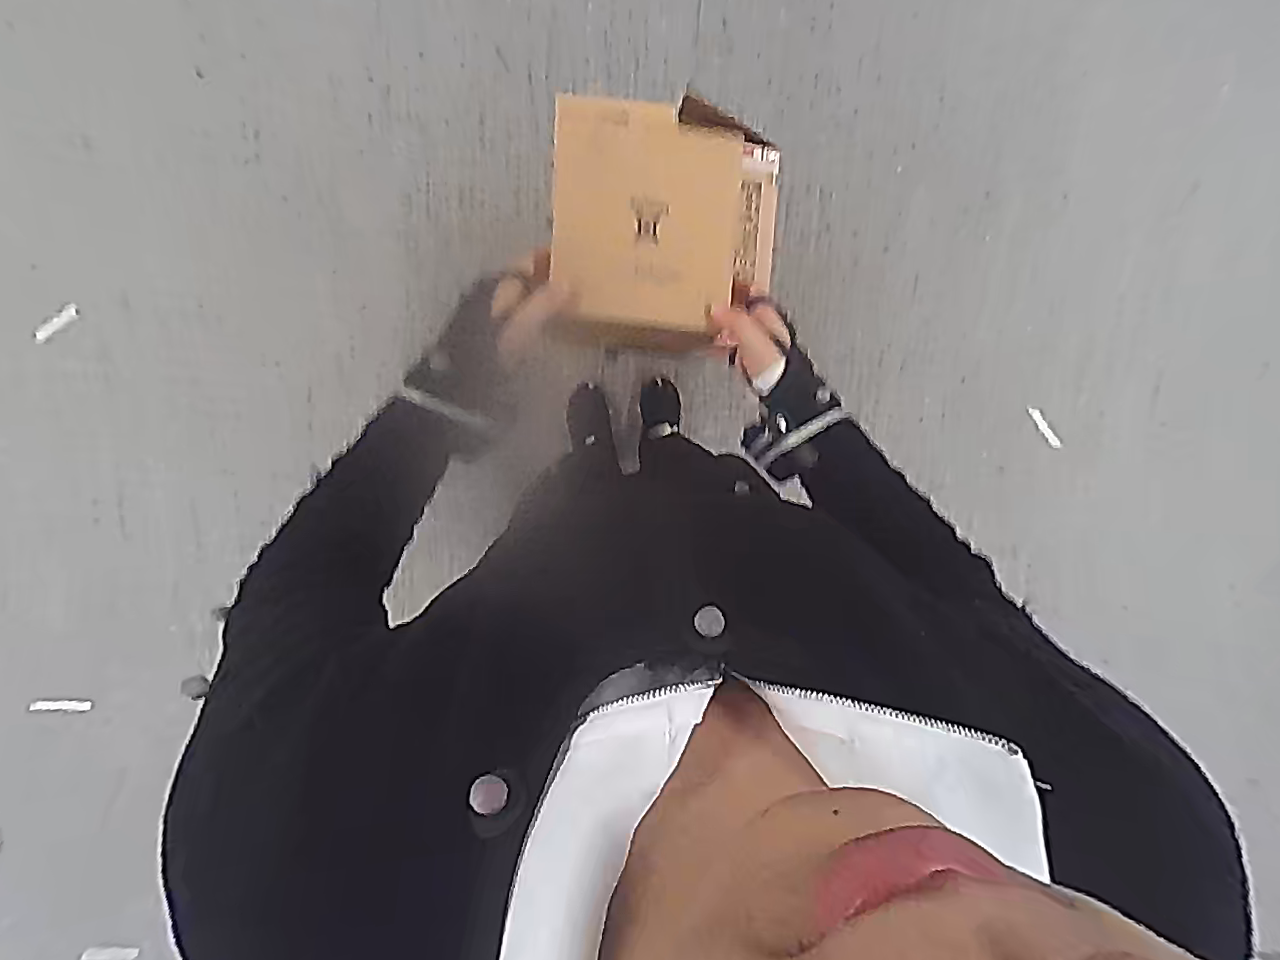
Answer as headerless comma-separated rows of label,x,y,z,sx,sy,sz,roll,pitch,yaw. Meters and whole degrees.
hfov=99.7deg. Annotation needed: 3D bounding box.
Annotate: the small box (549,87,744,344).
small box,-0.005,-0.248,0.553,0.168,0.176,0.179,3,95,-9
